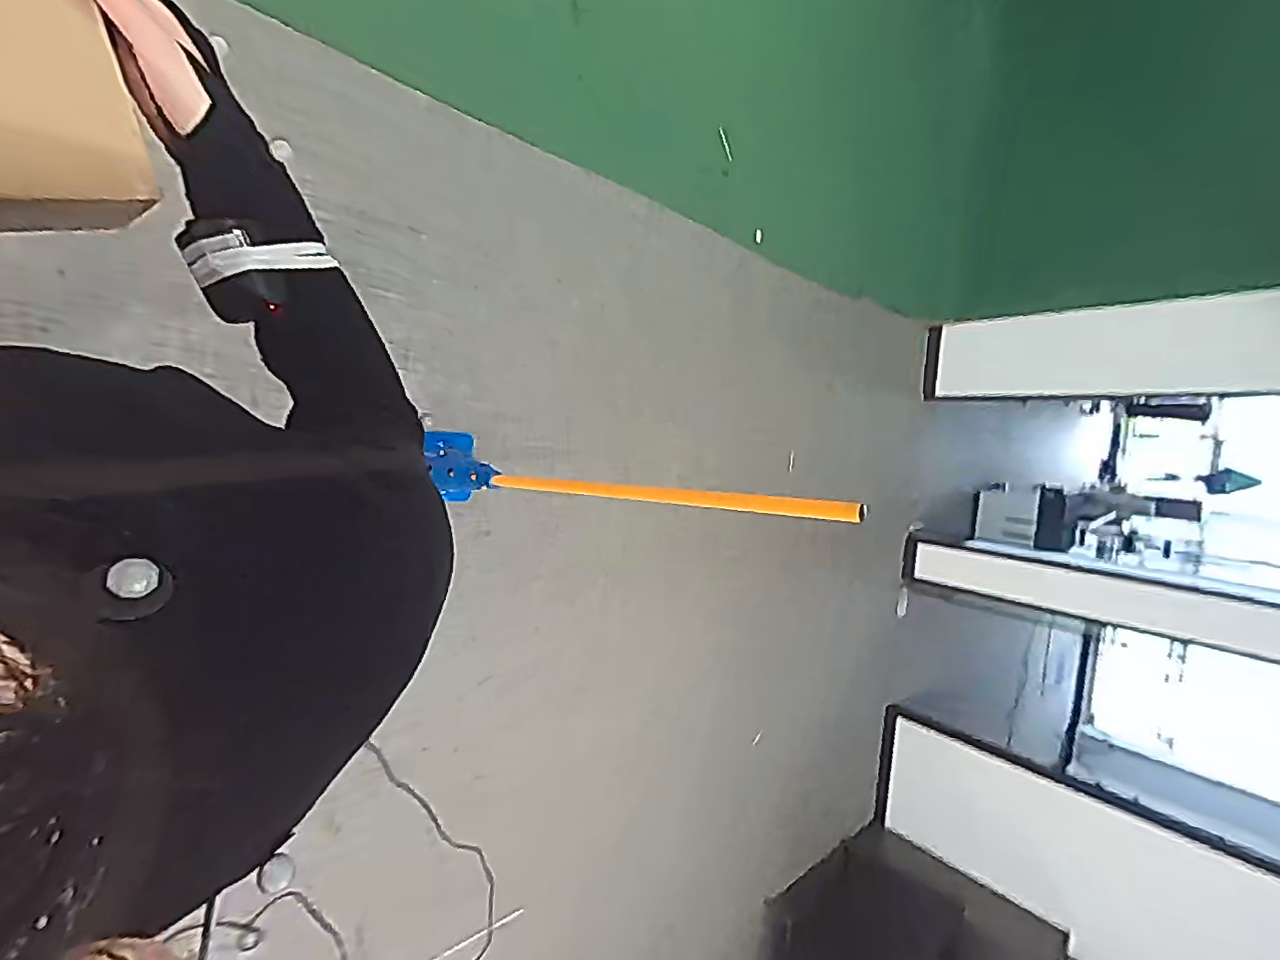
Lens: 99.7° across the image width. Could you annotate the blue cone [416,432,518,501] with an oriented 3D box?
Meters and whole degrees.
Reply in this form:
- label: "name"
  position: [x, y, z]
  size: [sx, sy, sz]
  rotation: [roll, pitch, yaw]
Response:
- label: "blue cone"
  position: [-0.425, -0.023, 1.402]
  size: [0.193, 0.380, 0.192]
  rotation: [-4, 99, -42]
